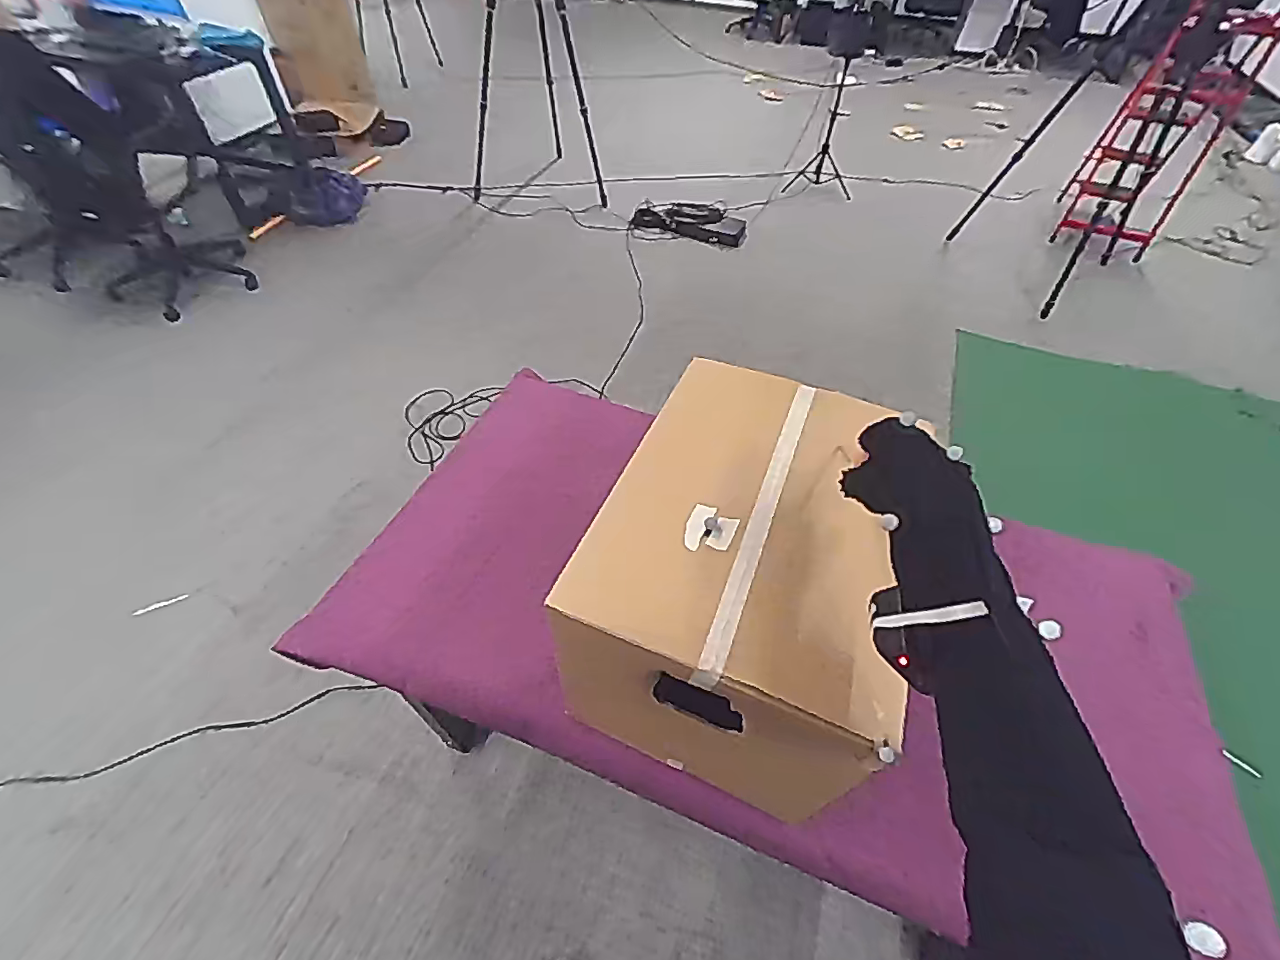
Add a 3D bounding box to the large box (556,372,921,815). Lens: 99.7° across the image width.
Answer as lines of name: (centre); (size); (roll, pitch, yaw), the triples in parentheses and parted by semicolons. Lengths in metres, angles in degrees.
large box: (0.127, 0.133, 0.700); (0.320, 0.320, 0.408); (19, 52, 14)
